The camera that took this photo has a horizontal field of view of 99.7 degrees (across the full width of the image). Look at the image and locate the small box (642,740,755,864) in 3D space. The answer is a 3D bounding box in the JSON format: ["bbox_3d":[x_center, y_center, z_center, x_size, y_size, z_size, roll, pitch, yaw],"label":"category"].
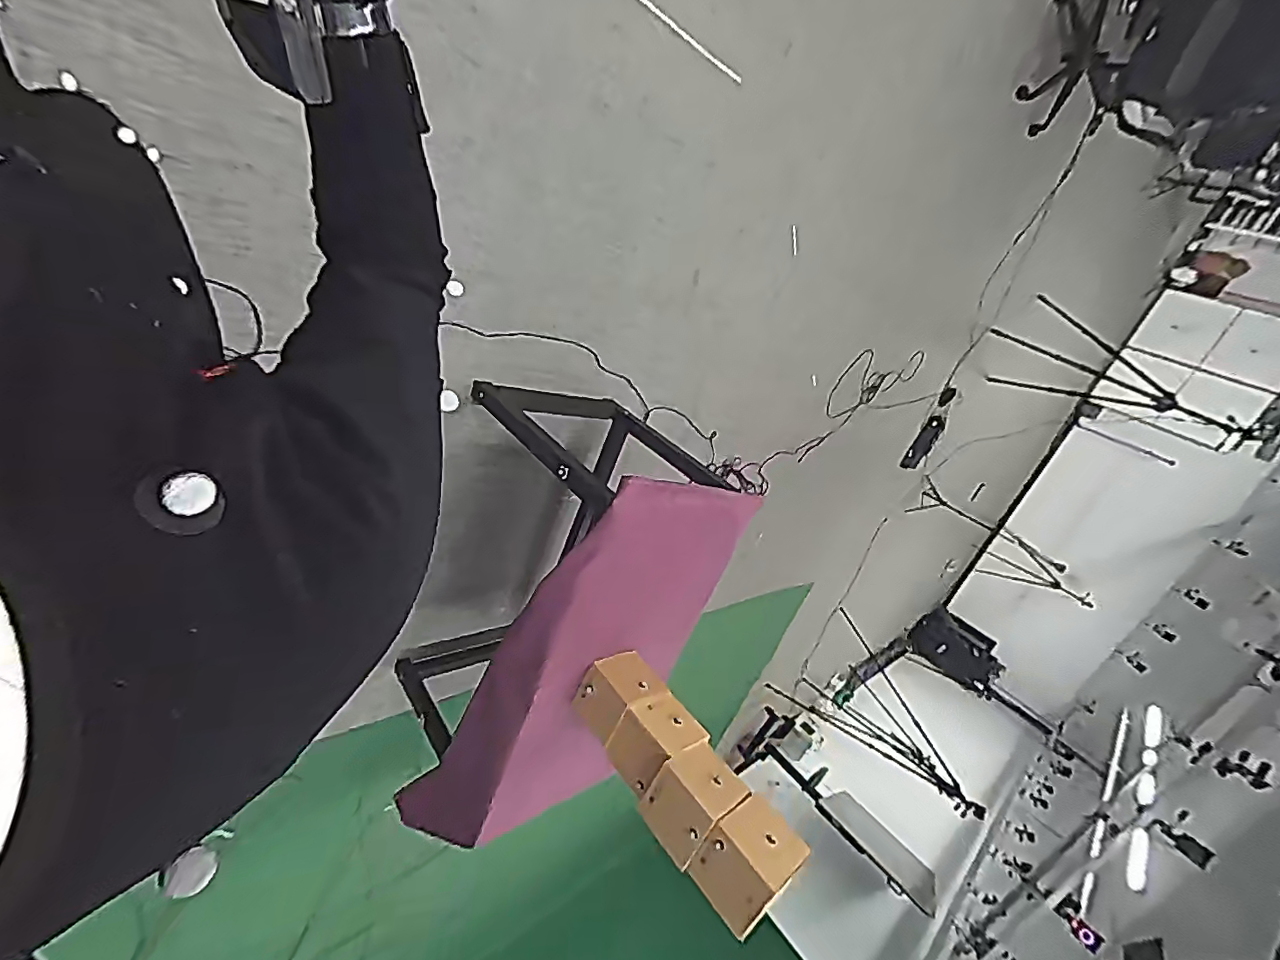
[{"bbox_3d":[0.140,0.771,1.318,0.179,0.176,0.168,6,116,-50],"label":"small box"}]

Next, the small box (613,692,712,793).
[{"bbox_3d":[0.054,0.688,1.432,0.168,0.176,0.179,3,118,-47],"label":"small box"}]

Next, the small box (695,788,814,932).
[{"bbox_3d":[0.255,0.852,1.229,0.179,0.176,0.168,0,120,-48],"label":"small box"}]

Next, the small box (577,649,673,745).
[{"bbox_3d":[-0.045,0.601,1.525,0.179,0.176,0.168,5,116,-48],"label":"small box"}]
